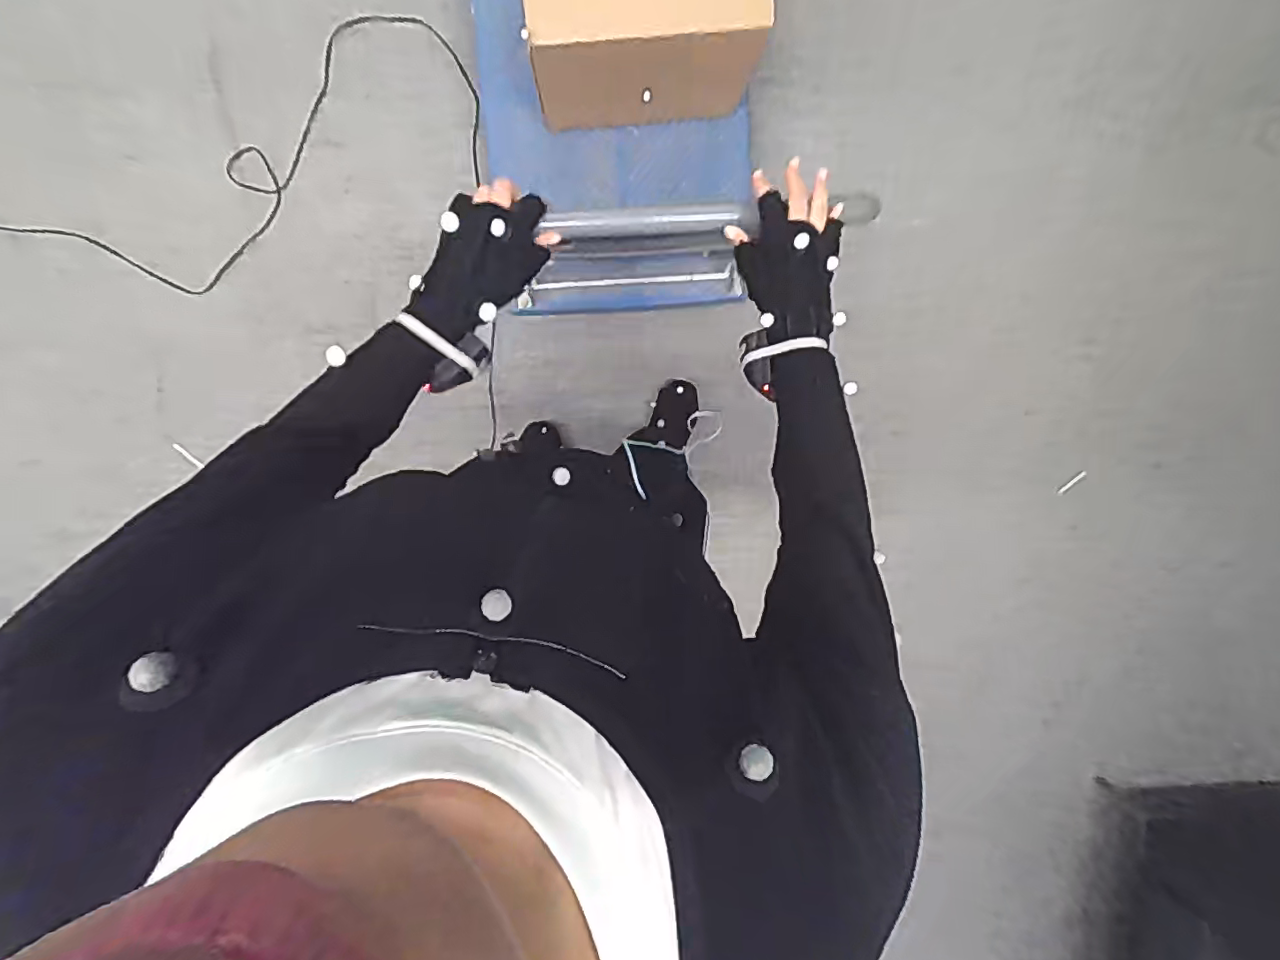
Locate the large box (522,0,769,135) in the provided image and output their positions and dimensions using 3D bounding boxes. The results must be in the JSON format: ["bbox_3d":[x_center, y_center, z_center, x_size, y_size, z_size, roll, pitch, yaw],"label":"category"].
[{"bbox_3d":[-0.004,-0.886,1.004,0.408,0.320,0.320,-6,99,-2],"label":"large box"}]
